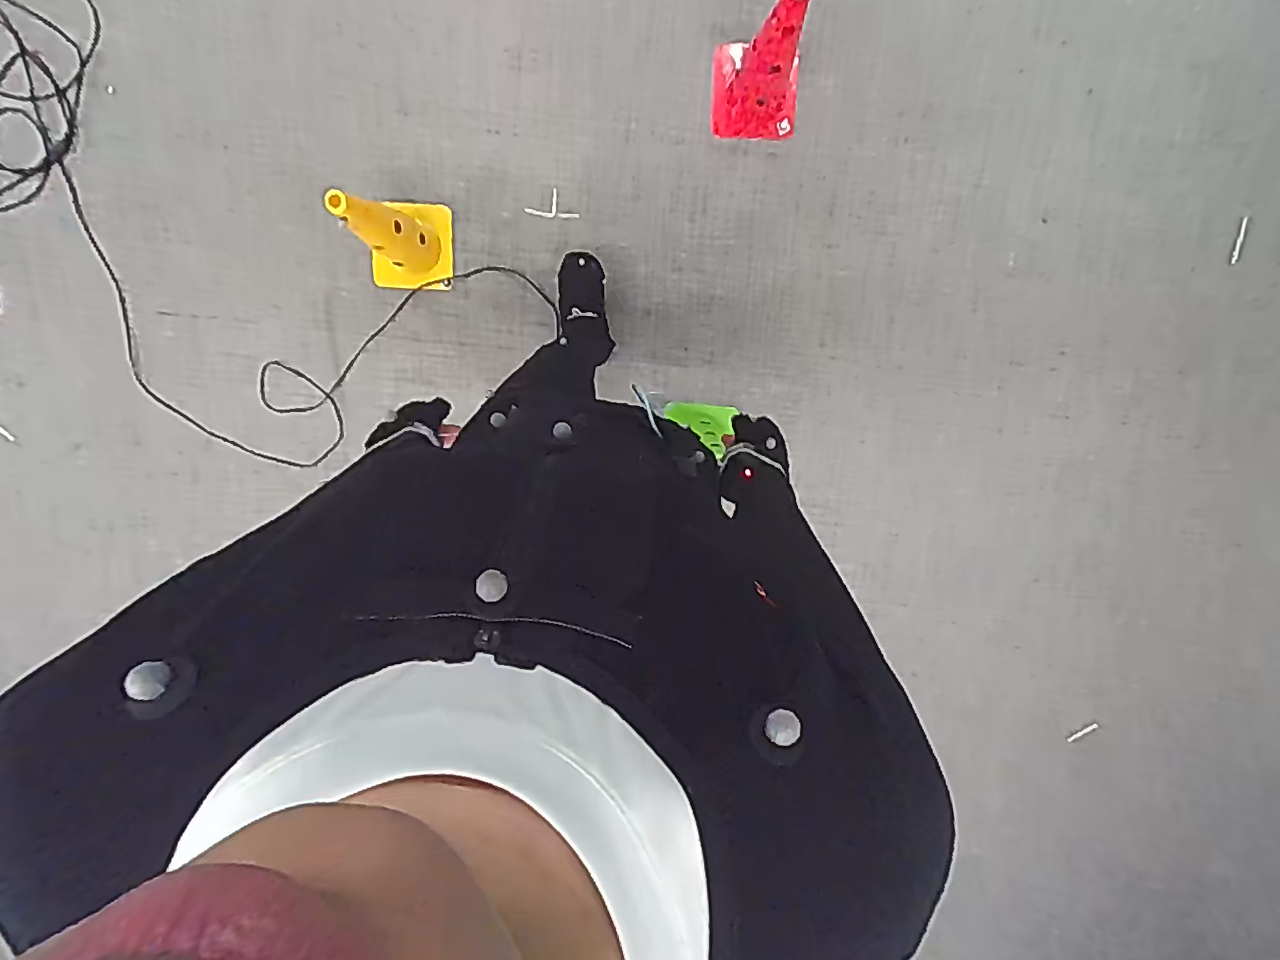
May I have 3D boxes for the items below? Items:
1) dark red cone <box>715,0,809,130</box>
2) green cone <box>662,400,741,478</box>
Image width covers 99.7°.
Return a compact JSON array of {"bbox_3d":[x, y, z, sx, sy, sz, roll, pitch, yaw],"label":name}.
[{"bbox_3d":[0.278,-0.894,1.094,0.202,0.394,0.201,0,100,-1],"label":"dark red cone"},{"bbox_3d":[0.161,-0.076,1.278,0.202,0.368,0.200,5,101,0],"label":"green cone"}]
